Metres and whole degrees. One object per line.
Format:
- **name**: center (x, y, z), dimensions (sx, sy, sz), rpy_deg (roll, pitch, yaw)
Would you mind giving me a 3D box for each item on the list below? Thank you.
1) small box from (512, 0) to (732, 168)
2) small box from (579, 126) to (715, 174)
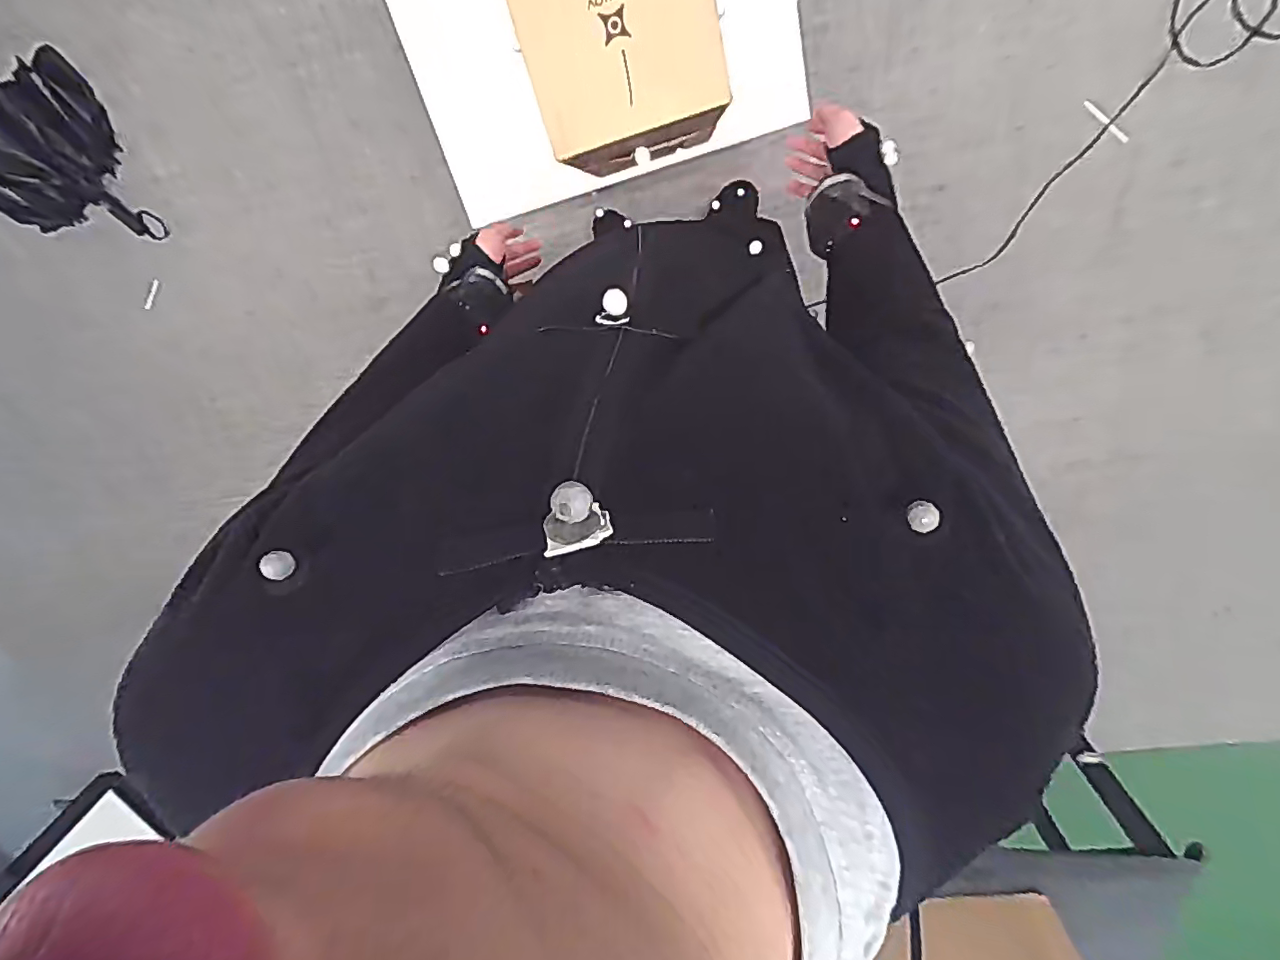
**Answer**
- **small box**: center (-0.016, -0.419, 0.516), dimensions (0.168, 0.176, 0.179), rpy_deg (-12, 116, 9)
- **small box**: center (-0.008, -0.492, 0.663), dimensions (0.168, 0.176, 0.179), rpy_deg (-13, 114, 9)
